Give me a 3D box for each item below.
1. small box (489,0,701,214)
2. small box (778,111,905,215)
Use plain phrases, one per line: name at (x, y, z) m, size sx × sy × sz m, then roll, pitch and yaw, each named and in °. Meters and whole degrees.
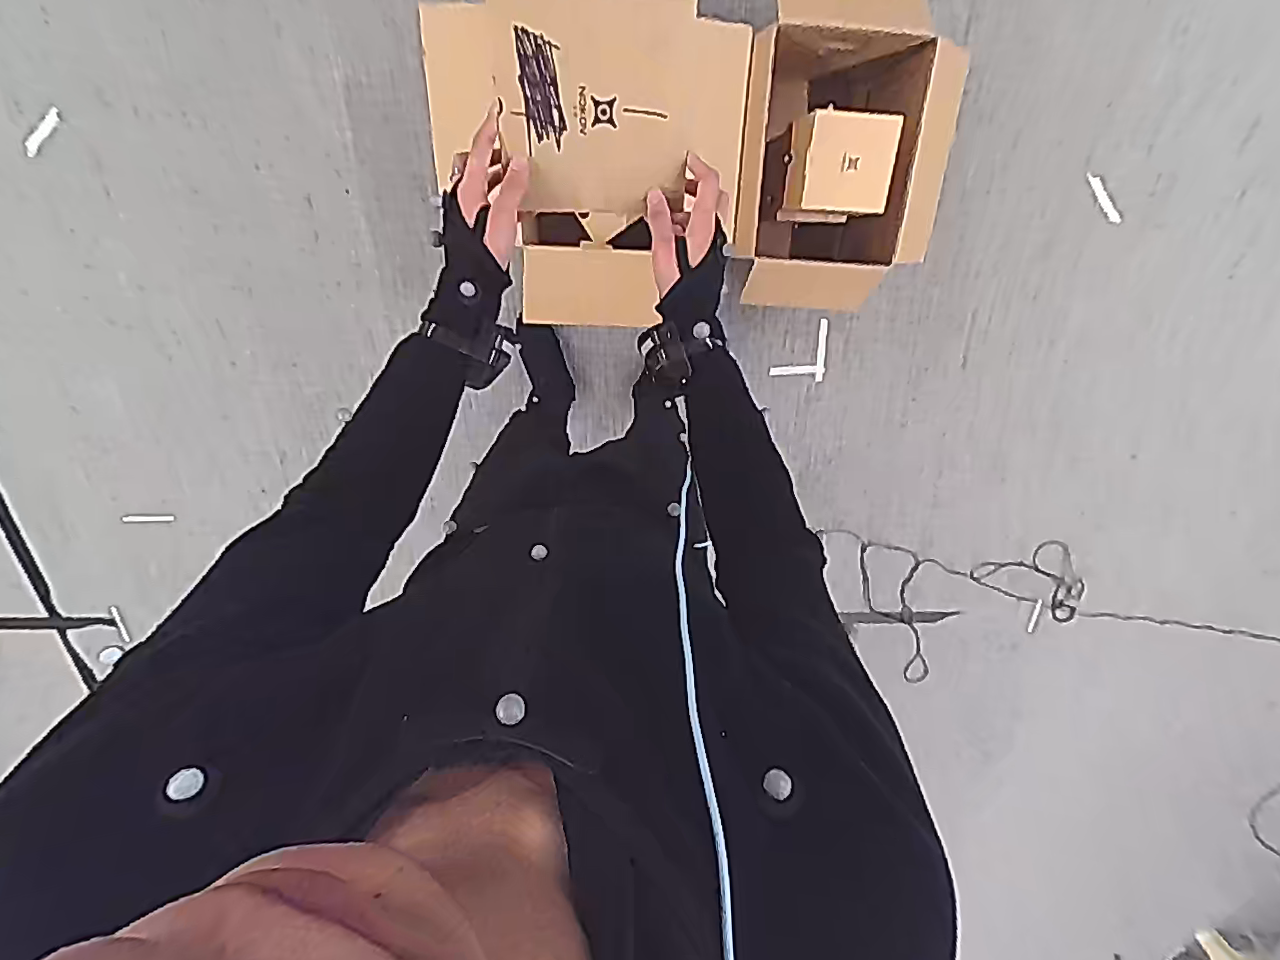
small box at (-0.043, -0.374, 0.548) m, size 0.179 × 0.176 × 0.168 m, roll 1°, pitch 124°, yaw -4°
small box at (0.404, -0.645, 1.116) m, size 0.179 × 0.176 × 0.168 m, roll 1°, pitch 115°, yaw -3°
